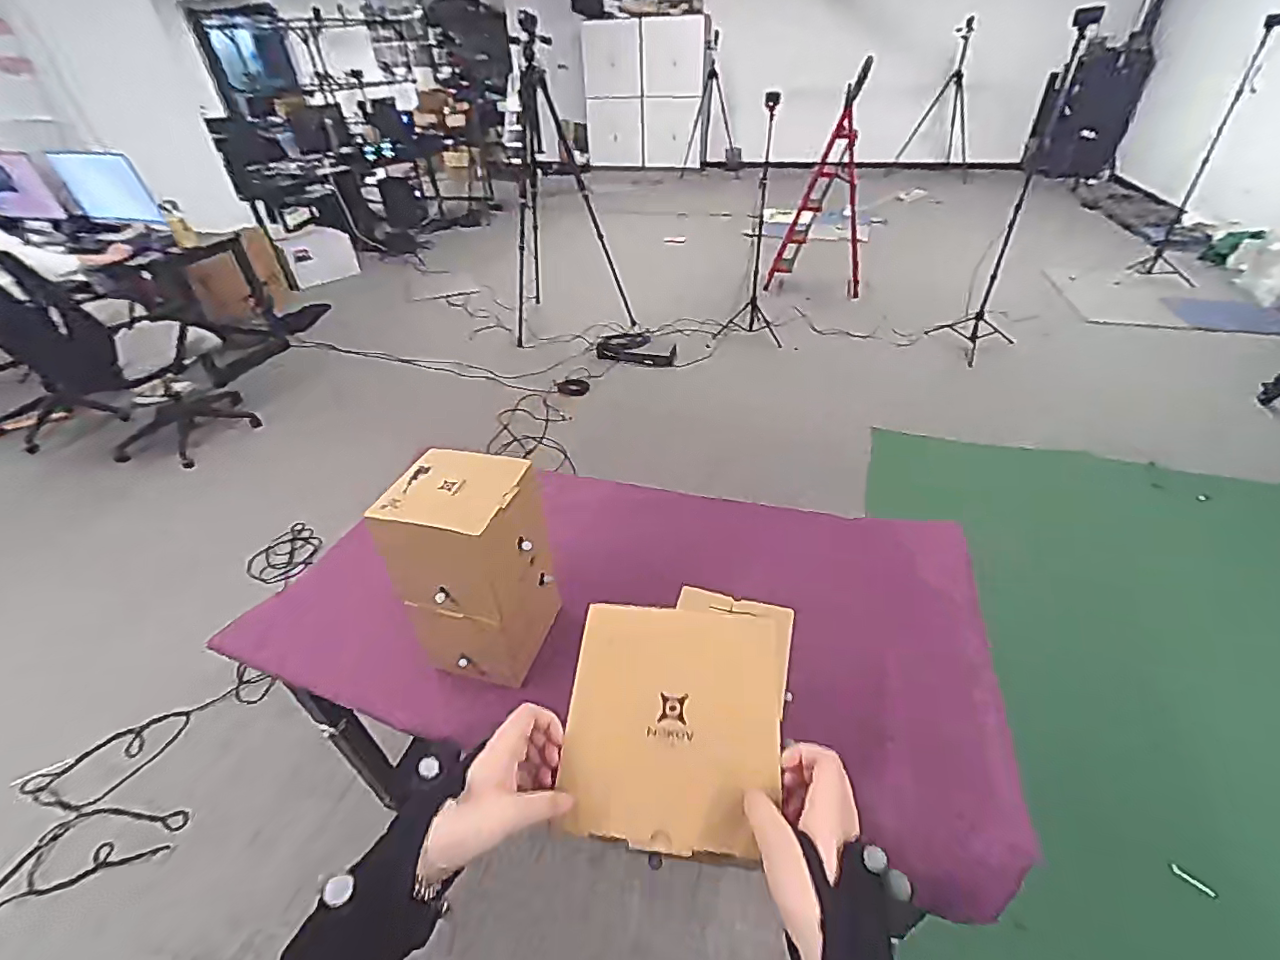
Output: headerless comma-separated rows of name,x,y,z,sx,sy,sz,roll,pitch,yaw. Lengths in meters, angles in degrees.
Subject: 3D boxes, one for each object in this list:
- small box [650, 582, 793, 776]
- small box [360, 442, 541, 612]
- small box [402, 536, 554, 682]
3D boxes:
small box,0.115,0.279,0.770,0.168,0.176,0.179,9,40,15
small box,-0.259,0.068,0.790,0.179,0.176,0.168,9,38,13
small box,-0.252,0.197,0.892,0.168,0.176,0.179,8,38,14
